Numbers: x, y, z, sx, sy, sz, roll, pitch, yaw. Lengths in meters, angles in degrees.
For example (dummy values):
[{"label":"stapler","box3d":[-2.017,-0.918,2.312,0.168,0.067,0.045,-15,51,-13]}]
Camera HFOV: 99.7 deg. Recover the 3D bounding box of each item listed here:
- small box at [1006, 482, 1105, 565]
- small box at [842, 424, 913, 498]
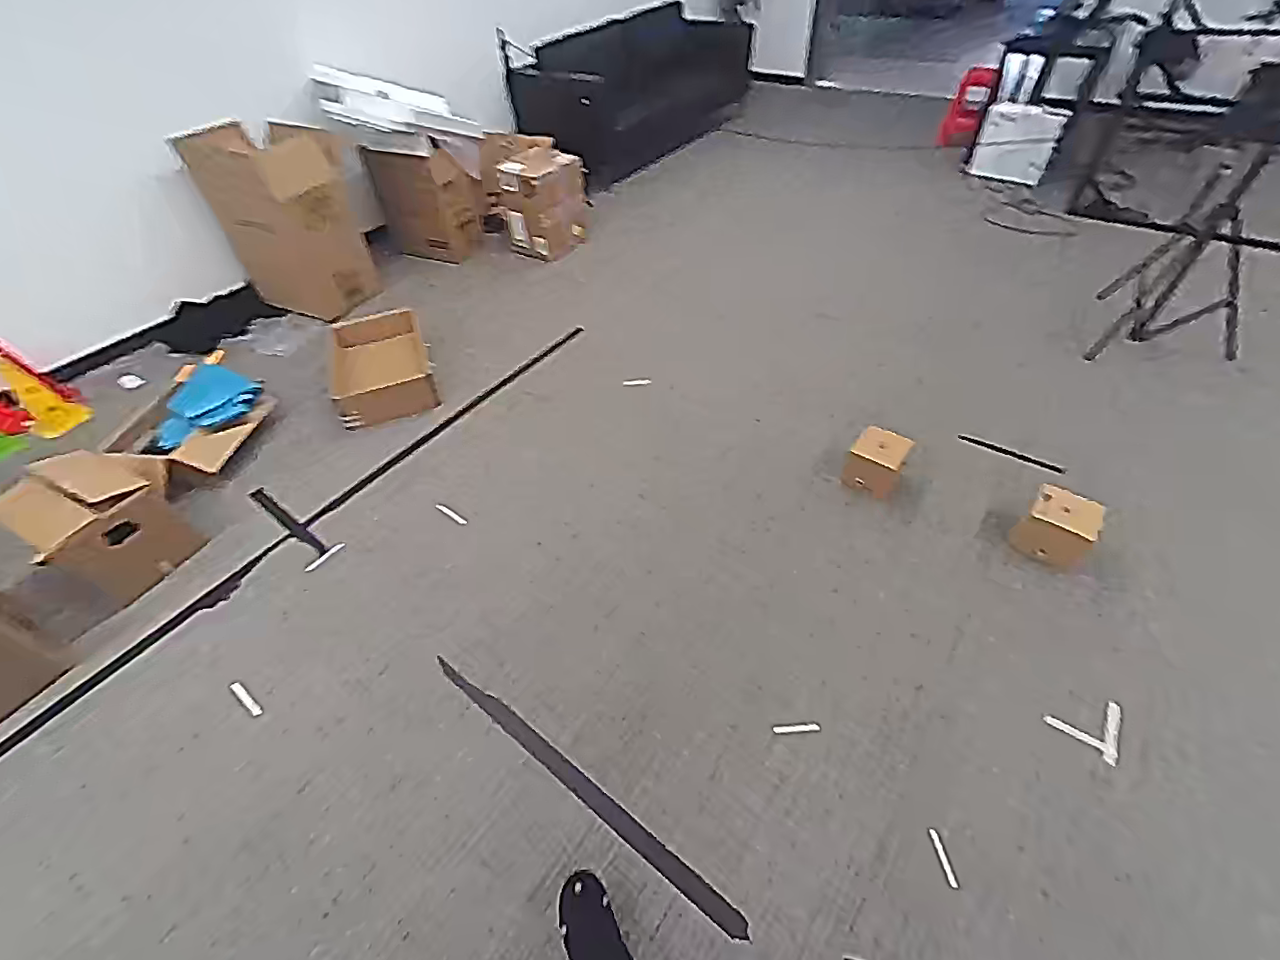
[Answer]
[{"label":"small box","box3d":[1.317,0.146,1.721,0.179,0.176,0.168,30,56,27]},{"label":"small box","box3d":[0.853,-0.068,1.958,0.168,0.176,0.179,28,56,29]}]
